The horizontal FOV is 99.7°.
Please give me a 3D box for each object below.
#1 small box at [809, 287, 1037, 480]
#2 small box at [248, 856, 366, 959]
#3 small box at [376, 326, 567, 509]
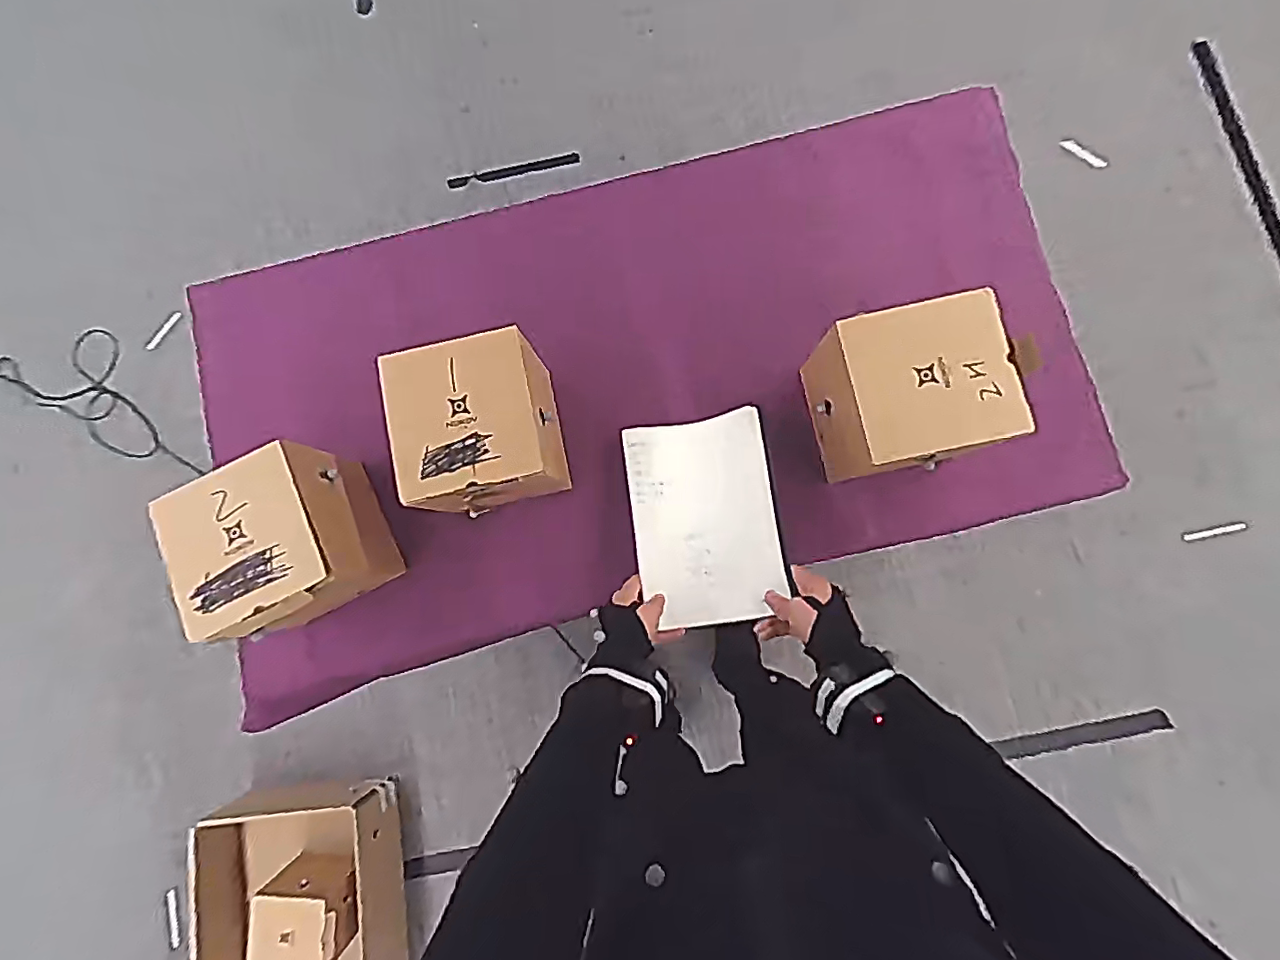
[{"bbox_3d":[0.315,-0.101,0.649,0.179,0.176,0.168,-12,83,2],"label":"small box"},{"bbox_3d":[-0.768,1.015,1.263,0.179,0.176,0.168,1,84,3],"label":"small box"},{"bbox_3d":[-0.196,-0.063,0.673,0.168,0.176,0.179,-13,82,1],"label":"small box"}]
